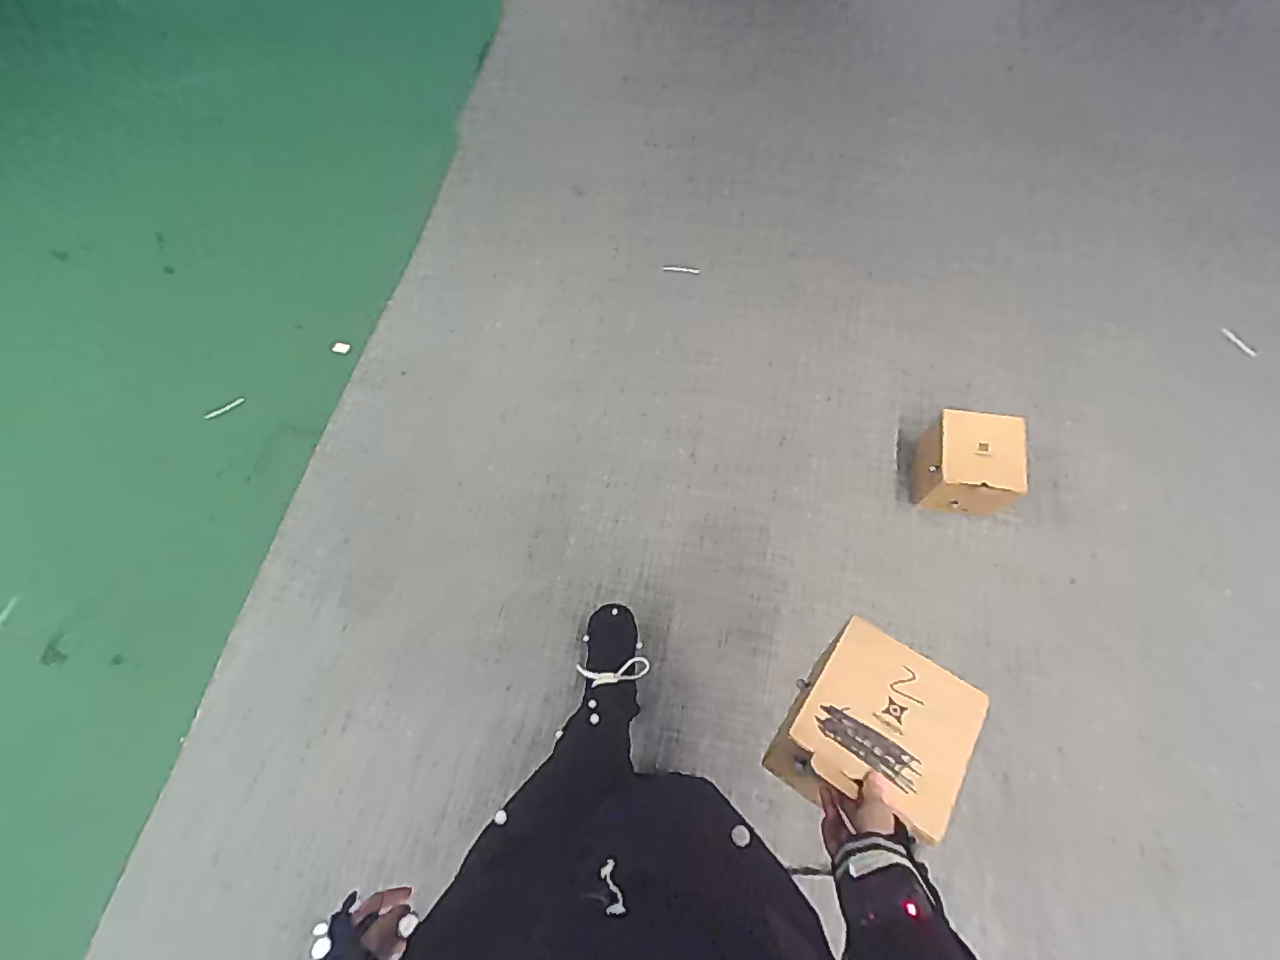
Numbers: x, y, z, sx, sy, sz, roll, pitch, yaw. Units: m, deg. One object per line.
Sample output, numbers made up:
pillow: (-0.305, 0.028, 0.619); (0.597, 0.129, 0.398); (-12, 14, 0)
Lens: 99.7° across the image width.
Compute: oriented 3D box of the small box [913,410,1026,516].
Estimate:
small box: (0.733, -0.035, 1.220); (0.168, 0.176, 0.179); (8, 71, 9)
